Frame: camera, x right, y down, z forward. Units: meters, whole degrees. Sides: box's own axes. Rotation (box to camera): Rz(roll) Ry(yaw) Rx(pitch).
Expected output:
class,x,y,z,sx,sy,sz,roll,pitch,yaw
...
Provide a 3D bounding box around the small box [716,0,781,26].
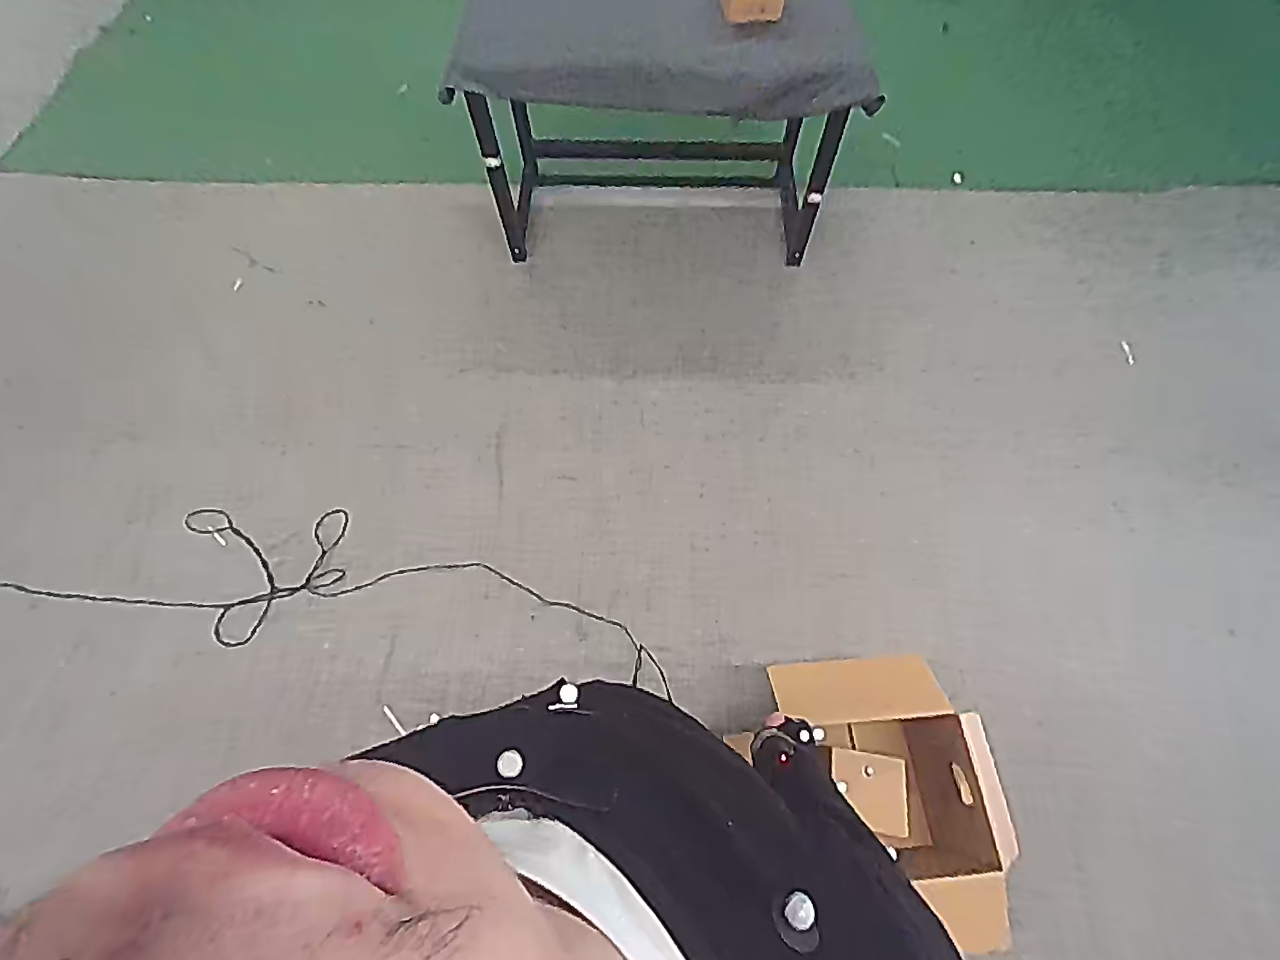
class,x,y,z,sx,sy,sz,roll,pitch,yaw
small box,0.331,-1.488,1.606,0.168,0.176,0.179,-6,64,-5
